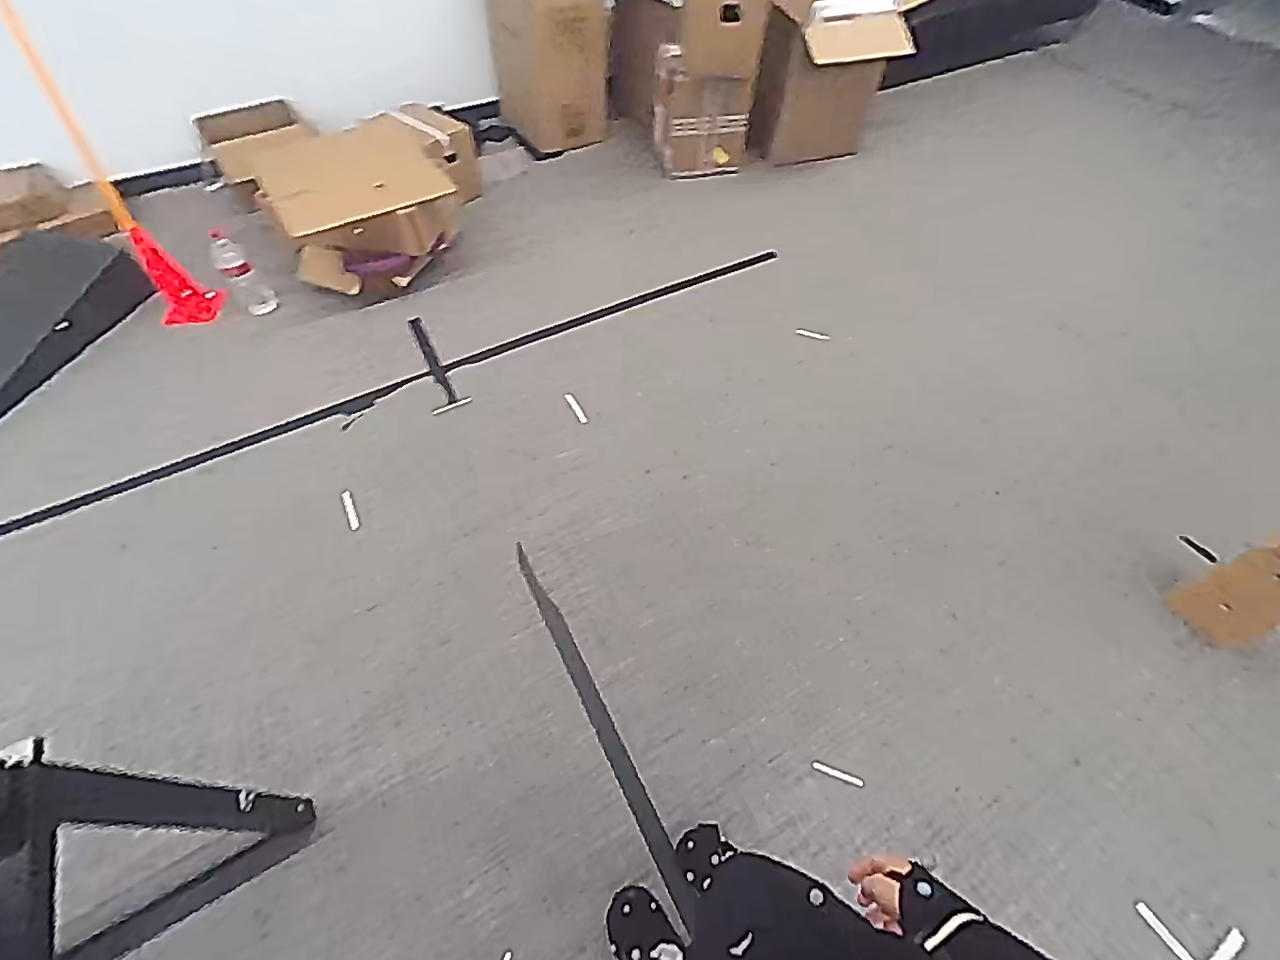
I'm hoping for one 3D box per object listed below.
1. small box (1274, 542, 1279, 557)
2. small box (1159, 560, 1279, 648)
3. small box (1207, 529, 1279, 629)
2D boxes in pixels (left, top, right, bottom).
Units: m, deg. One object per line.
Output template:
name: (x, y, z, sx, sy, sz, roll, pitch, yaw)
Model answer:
small box: (1.616, 0.154, 1.214, 0.179, 0.176, 0.168, -24, 59, -15)
small box: (1.611, 0.341, 1.483, 0.168, 0.176, 0.179, -25, 59, -17)
small box: (1.607, 0.243, 1.351, 0.168, 0.176, 0.179, -23, 58, -15)
